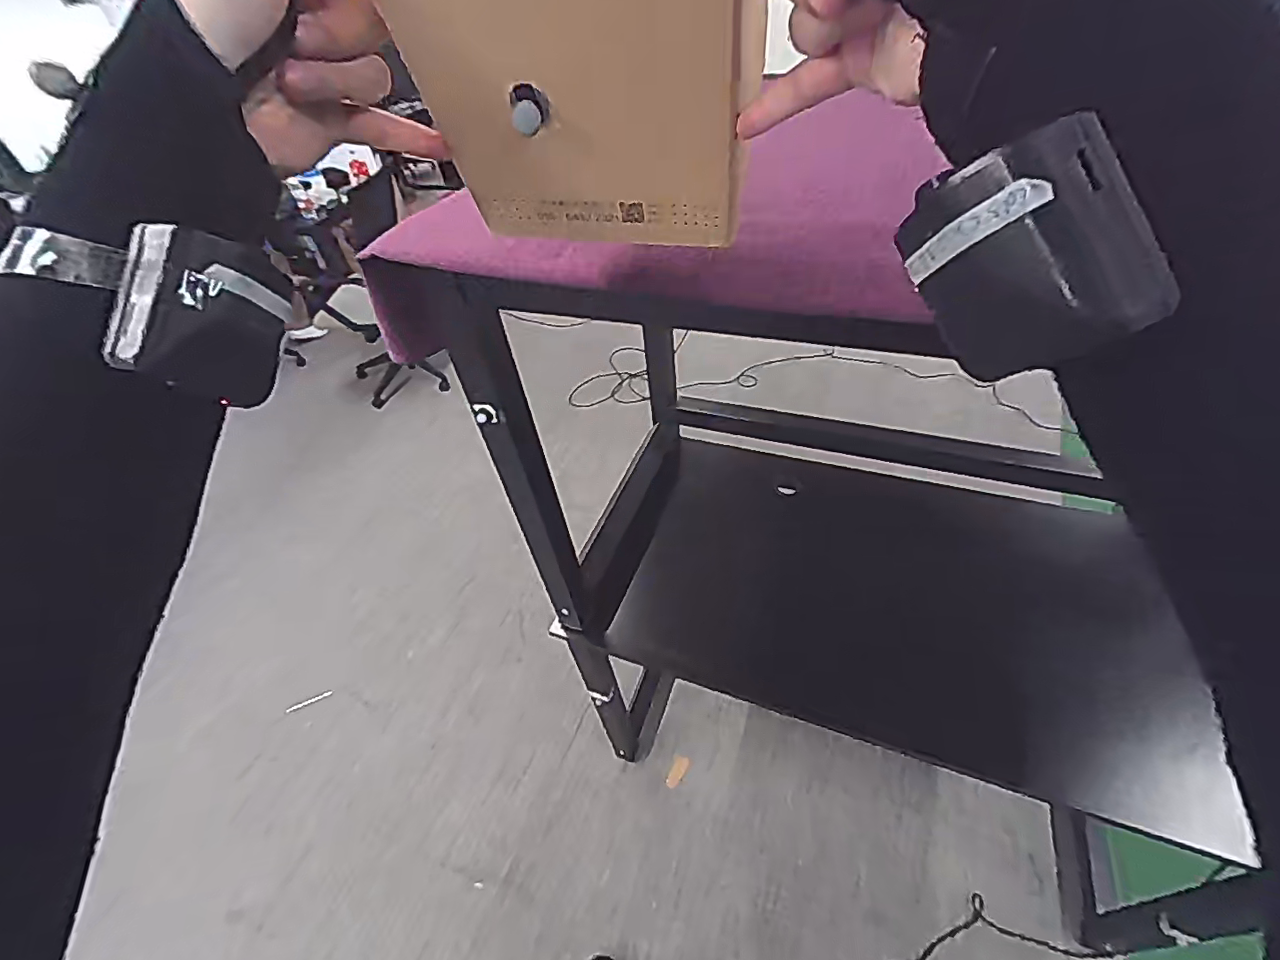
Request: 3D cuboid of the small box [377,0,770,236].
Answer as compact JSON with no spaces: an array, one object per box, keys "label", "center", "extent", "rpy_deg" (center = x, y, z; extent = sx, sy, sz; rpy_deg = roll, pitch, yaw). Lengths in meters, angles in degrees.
[{"label":"small box","center":[-0.016,-0.265,0.307],"extent":[0.168,0.176,0.179],"rpy_deg":[7,69,11]}]
